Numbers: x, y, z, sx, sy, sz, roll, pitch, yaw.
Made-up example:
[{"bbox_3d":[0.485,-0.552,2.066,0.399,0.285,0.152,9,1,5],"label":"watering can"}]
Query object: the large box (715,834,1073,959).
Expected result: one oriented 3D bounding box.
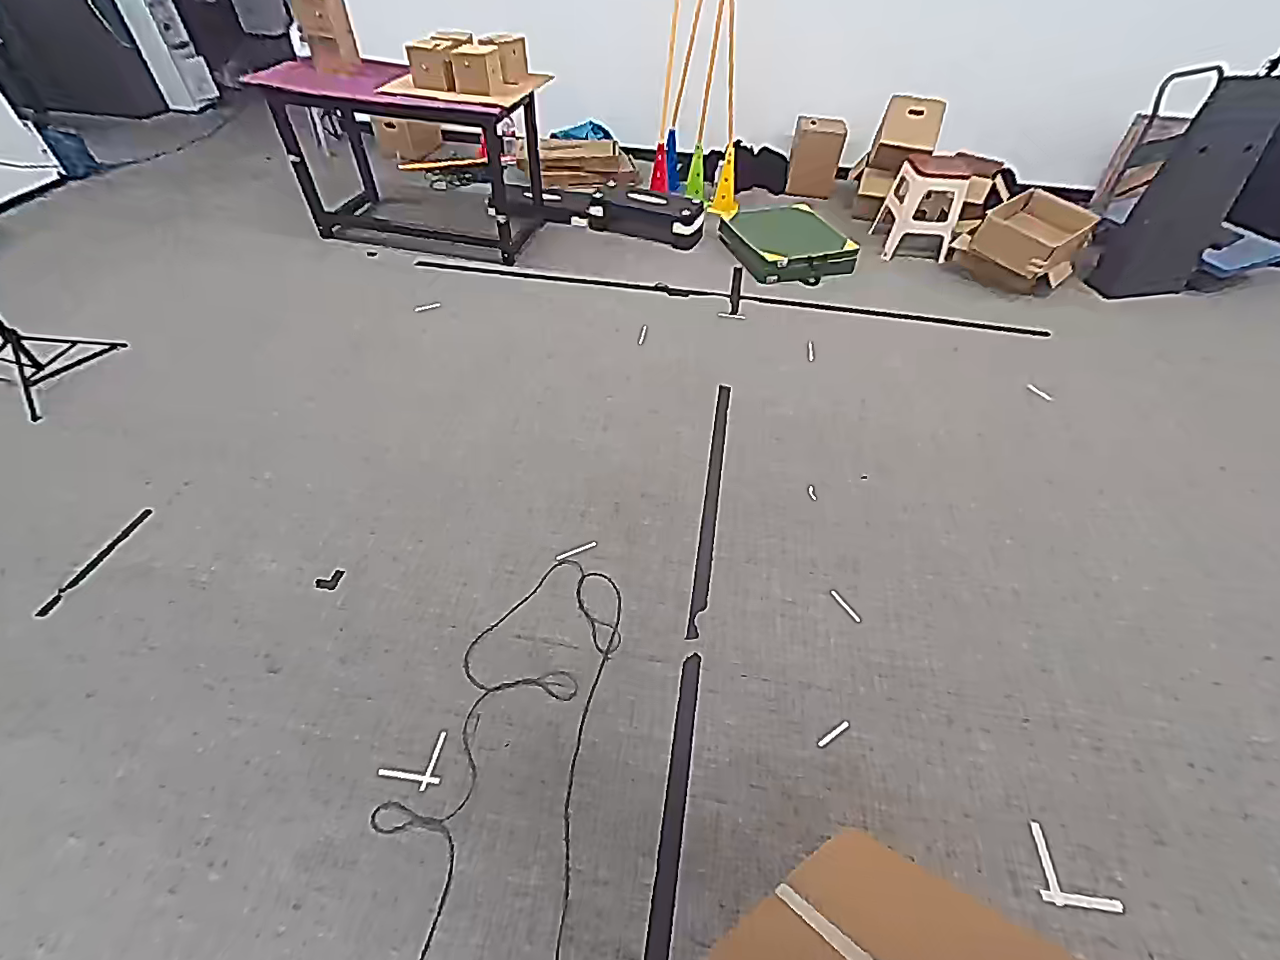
[{"bbox_3d":[0.358,0.740,0.651,0.320,0.408,0.320,-25,90,-23],"label":"large box"}]
